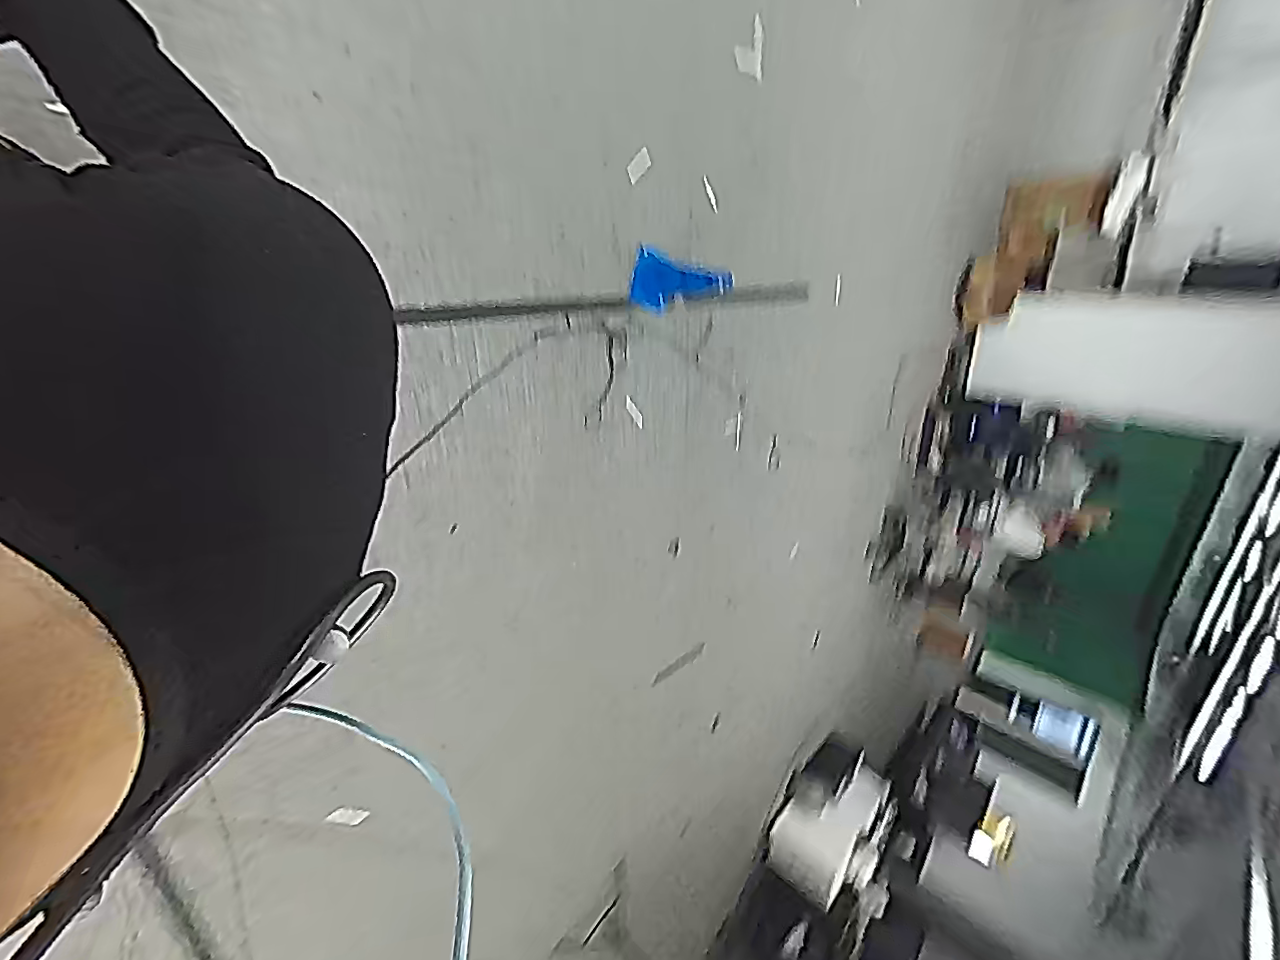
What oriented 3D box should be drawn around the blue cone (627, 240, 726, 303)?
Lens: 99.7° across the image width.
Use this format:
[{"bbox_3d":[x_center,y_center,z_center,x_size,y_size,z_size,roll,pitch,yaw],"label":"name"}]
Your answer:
[{"bbox_3d":[0.149,-0.726,1.892,0.192,0.380,0.193,6,100,-47],"label":"blue cone"}]
